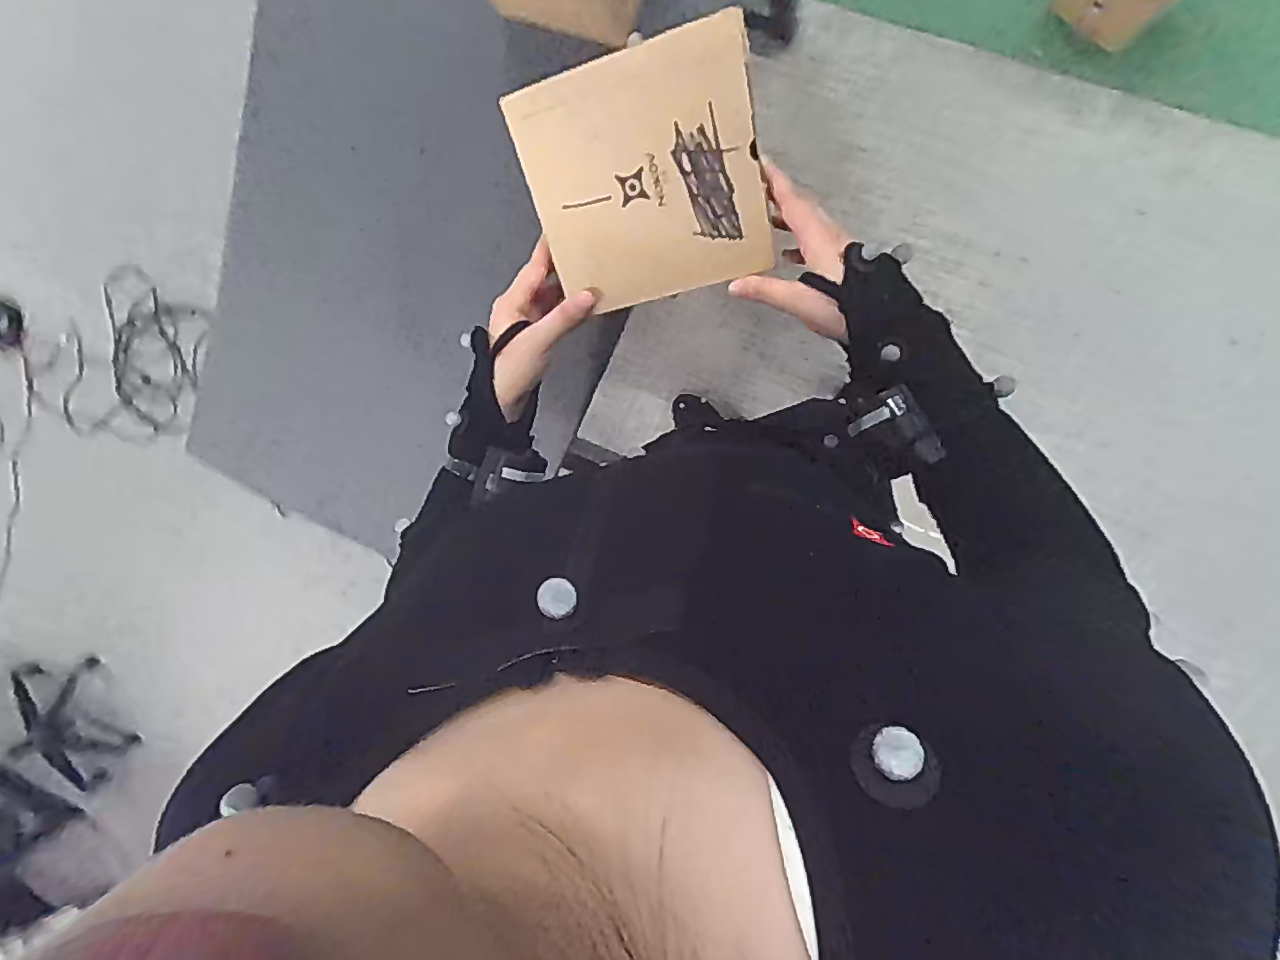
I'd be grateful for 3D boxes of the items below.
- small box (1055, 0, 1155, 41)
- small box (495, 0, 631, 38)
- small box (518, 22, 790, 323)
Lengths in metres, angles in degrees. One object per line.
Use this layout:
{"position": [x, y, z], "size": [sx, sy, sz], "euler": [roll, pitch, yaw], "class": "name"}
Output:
{"position": [0.908, -0.967, 0.987], "size": [0.168, 0.176, 0.179], "euler": [38, 108, 2], "class": "small box"}
{"position": [-0.089, -0.596, 0.547], "size": [0.179, 0.176, 0.168], "euler": [23, 107, 9], "class": "small box"}
{"position": [0.025, -0.254, 0.466], "size": [0.179, 0.176, 0.168], "euler": [-8, 119, 15], "class": "small box"}
